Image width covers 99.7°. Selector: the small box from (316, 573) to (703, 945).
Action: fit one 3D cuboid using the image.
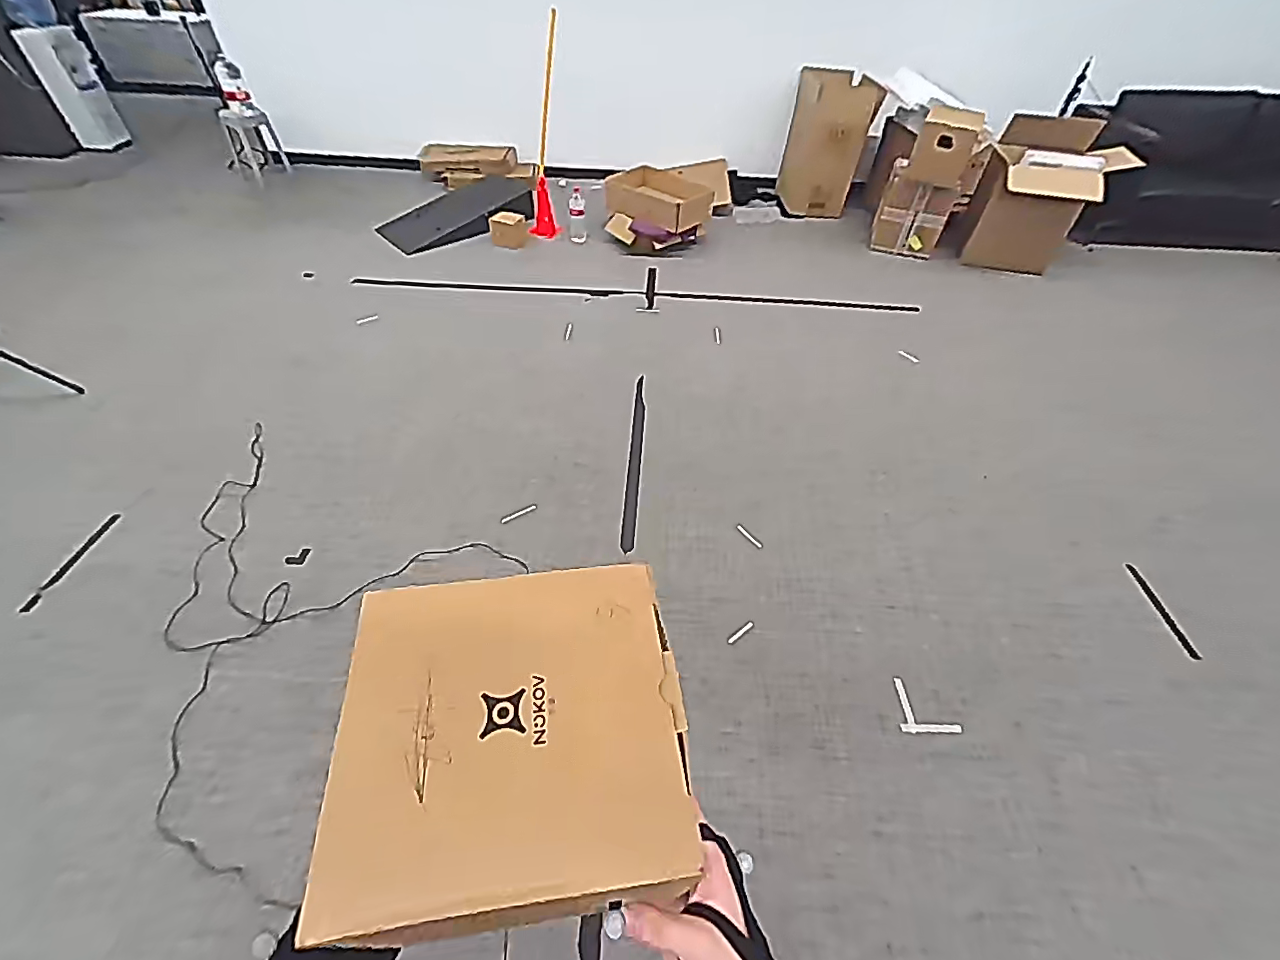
[{"bbox_3d":[-0.069,0.182,0.355,0.179,0.176,0.168,-6,49,-7],"label":"small box"}]
